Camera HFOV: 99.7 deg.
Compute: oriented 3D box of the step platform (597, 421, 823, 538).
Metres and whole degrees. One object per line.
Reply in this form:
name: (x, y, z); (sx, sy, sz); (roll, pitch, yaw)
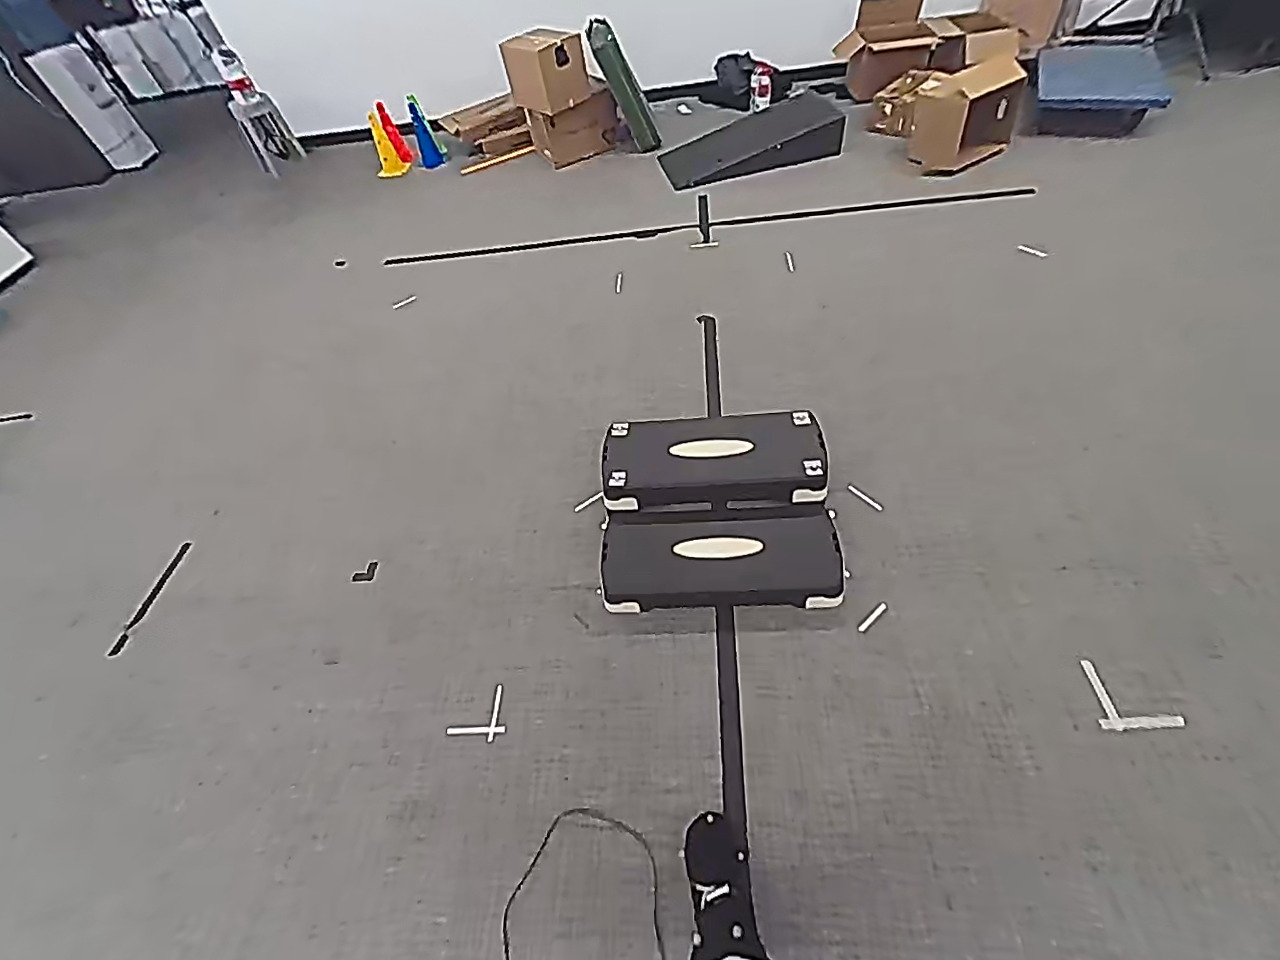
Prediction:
step platform: (0.207, -0.005, 1.675); (0.684, 0.204, 0.286); (-3, 52, 5)
